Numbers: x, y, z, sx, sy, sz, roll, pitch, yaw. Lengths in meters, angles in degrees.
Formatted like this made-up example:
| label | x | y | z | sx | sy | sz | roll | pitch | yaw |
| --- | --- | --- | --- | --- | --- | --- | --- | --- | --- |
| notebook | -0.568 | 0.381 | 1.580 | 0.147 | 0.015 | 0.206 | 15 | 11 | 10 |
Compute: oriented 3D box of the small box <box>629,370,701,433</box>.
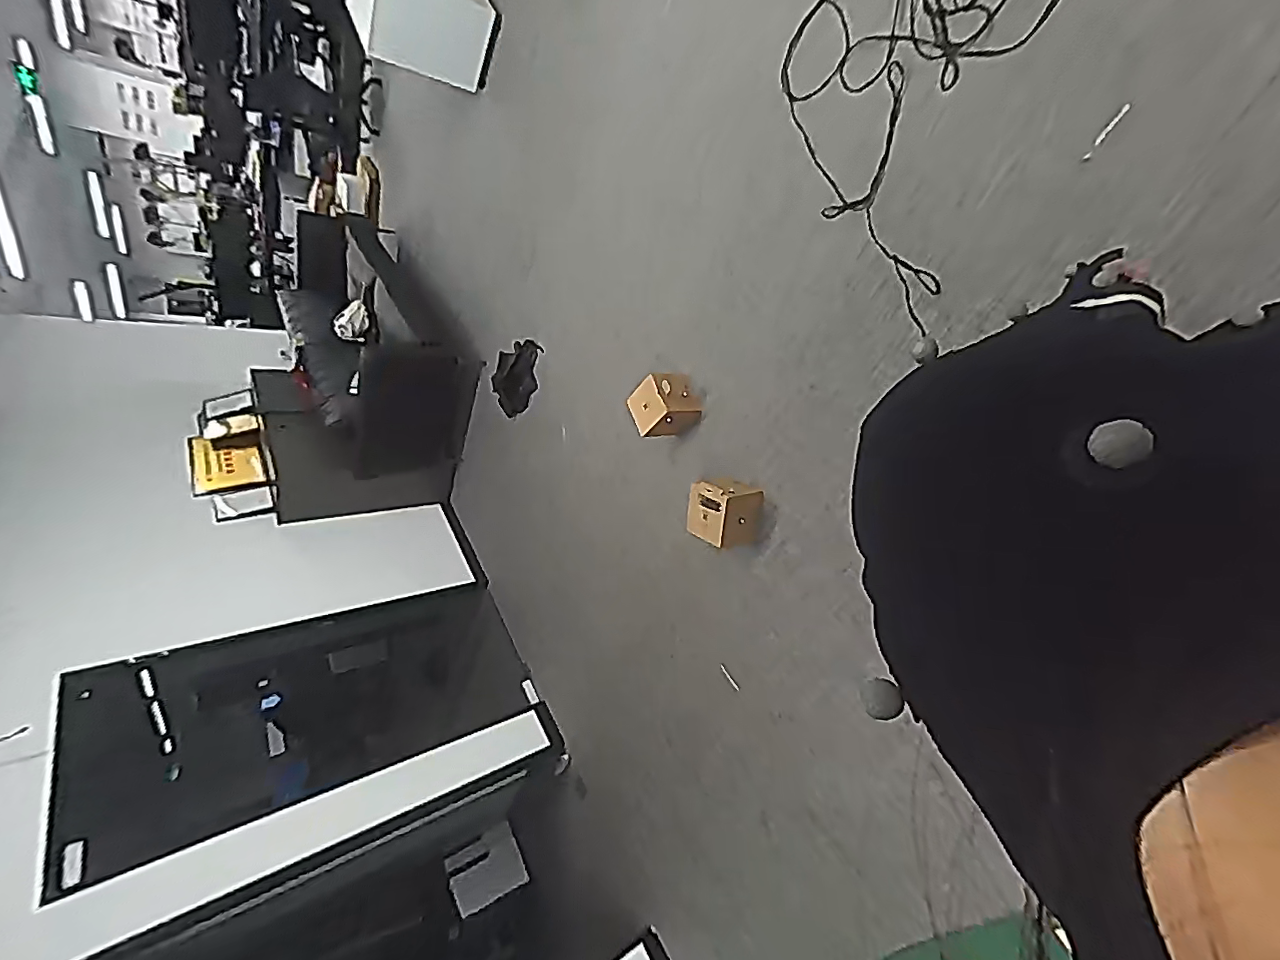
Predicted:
| label | x | y | z | sx | sy | sz | roll | pitch | yaw |
| --- | --- | --- | --- | --- | --- | --- | --- | --- | --- |
| small box | 0.092 | -0.286 | 1.986 | 0.179 | 0.176 | 0.168 | -42 | 63 | 46 |
